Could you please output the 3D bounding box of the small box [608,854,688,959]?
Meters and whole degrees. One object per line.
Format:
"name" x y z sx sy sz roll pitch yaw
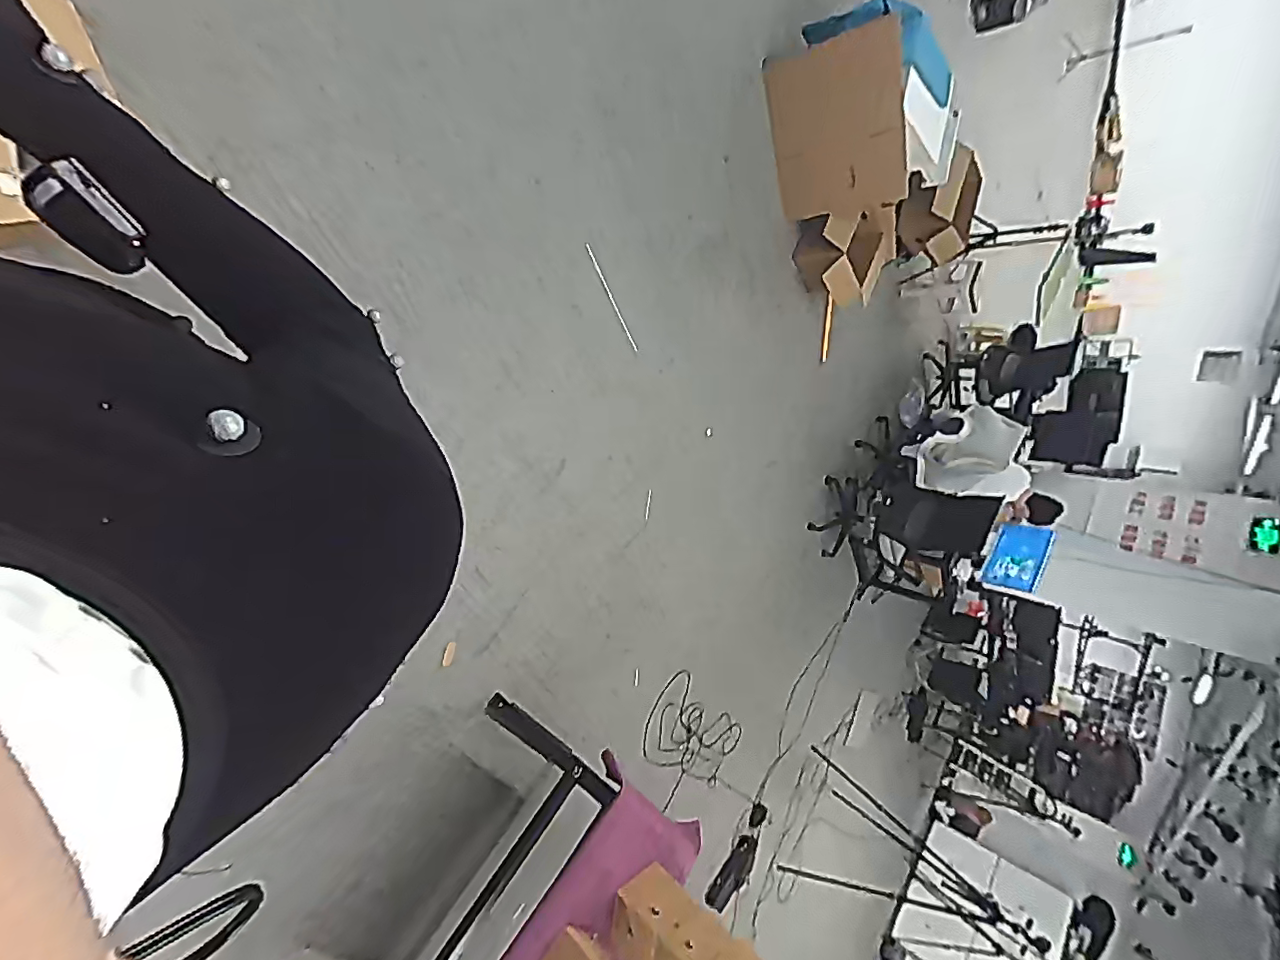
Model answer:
"small box" 0.022 1.310 1.659 0.179 0.176 0.168 -4 104 -46

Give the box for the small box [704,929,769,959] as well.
"small box" 0.254 1.374 1.442 0.179 0.176 0.168 -6 104 -45

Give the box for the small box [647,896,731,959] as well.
"small box" 0.136 1.347 1.549 0.168 0.176 0.179 -3 103 -45

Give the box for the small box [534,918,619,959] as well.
"small box" -0.178 1.329 1.450 0.179 0.176 0.168 -52 133 -23
